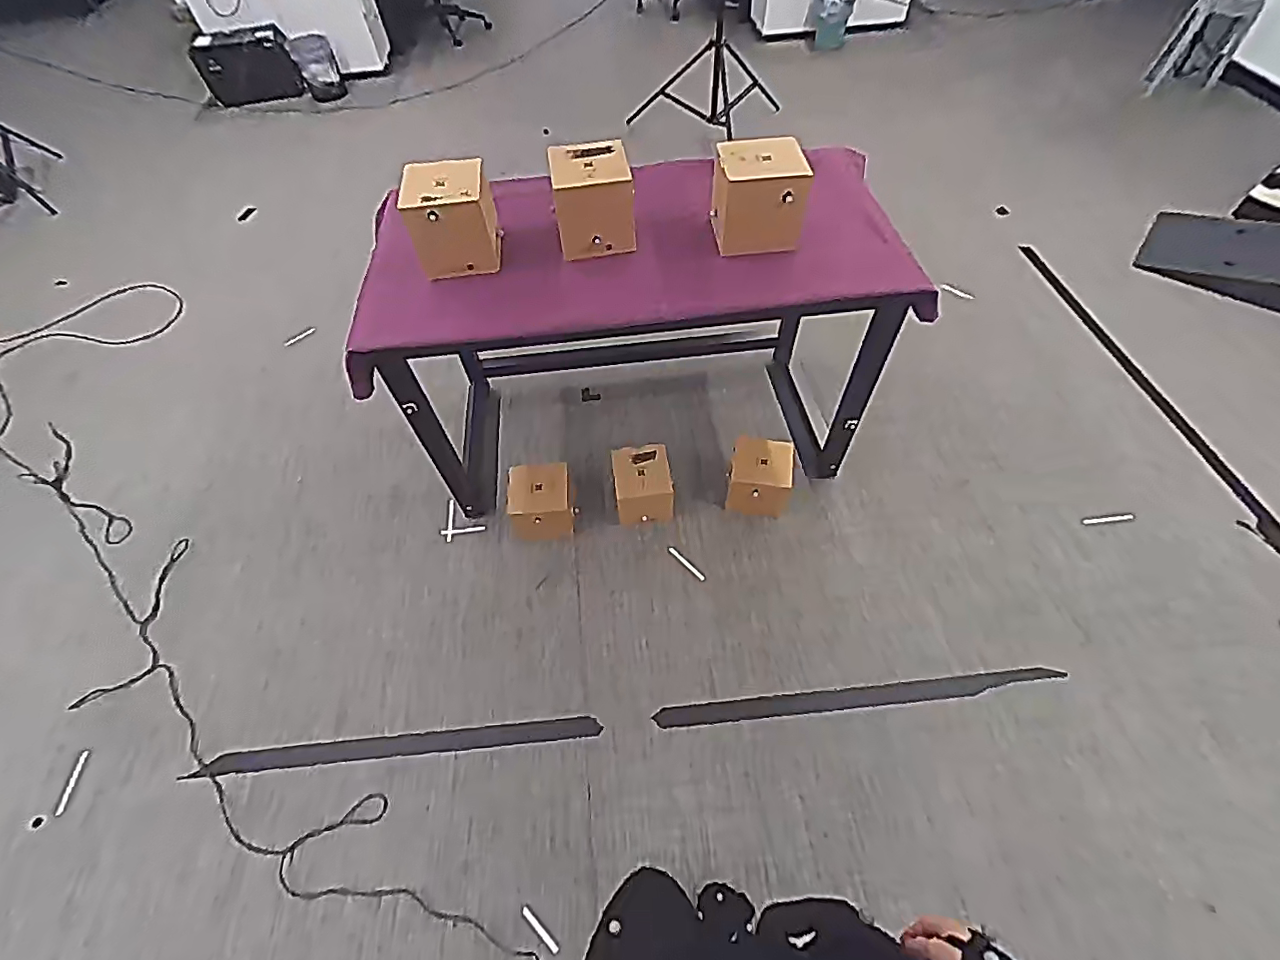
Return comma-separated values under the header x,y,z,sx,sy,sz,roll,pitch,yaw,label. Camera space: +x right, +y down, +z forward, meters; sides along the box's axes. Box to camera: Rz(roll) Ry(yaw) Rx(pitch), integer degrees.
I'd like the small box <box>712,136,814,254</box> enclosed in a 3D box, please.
x,y,z,sx,sy,sz,roll,pitch,yaw,label
0.260,-0.620,1.185,0.179,0.176,0.168,-5,55,0,small box

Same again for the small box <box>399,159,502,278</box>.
x,y,z,sx,sy,sz,roll,pitch,yaw,label
-0.406,-0.572,1.188,0.168,0.176,0.179,-8,56,-3,small box

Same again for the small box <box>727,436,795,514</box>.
x,y,z,sx,sy,sz,roll,pitch,yaw,label
0.366,-0.010,1.650,0.179,0.176,0.168,7,57,9,small box

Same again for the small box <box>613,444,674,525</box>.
x,y,z,sx,sy,sz,roll,pitch,yaw,label
0.010,0.016,1.649,0.168,0.176,0.179,-7,57,-2,small box
